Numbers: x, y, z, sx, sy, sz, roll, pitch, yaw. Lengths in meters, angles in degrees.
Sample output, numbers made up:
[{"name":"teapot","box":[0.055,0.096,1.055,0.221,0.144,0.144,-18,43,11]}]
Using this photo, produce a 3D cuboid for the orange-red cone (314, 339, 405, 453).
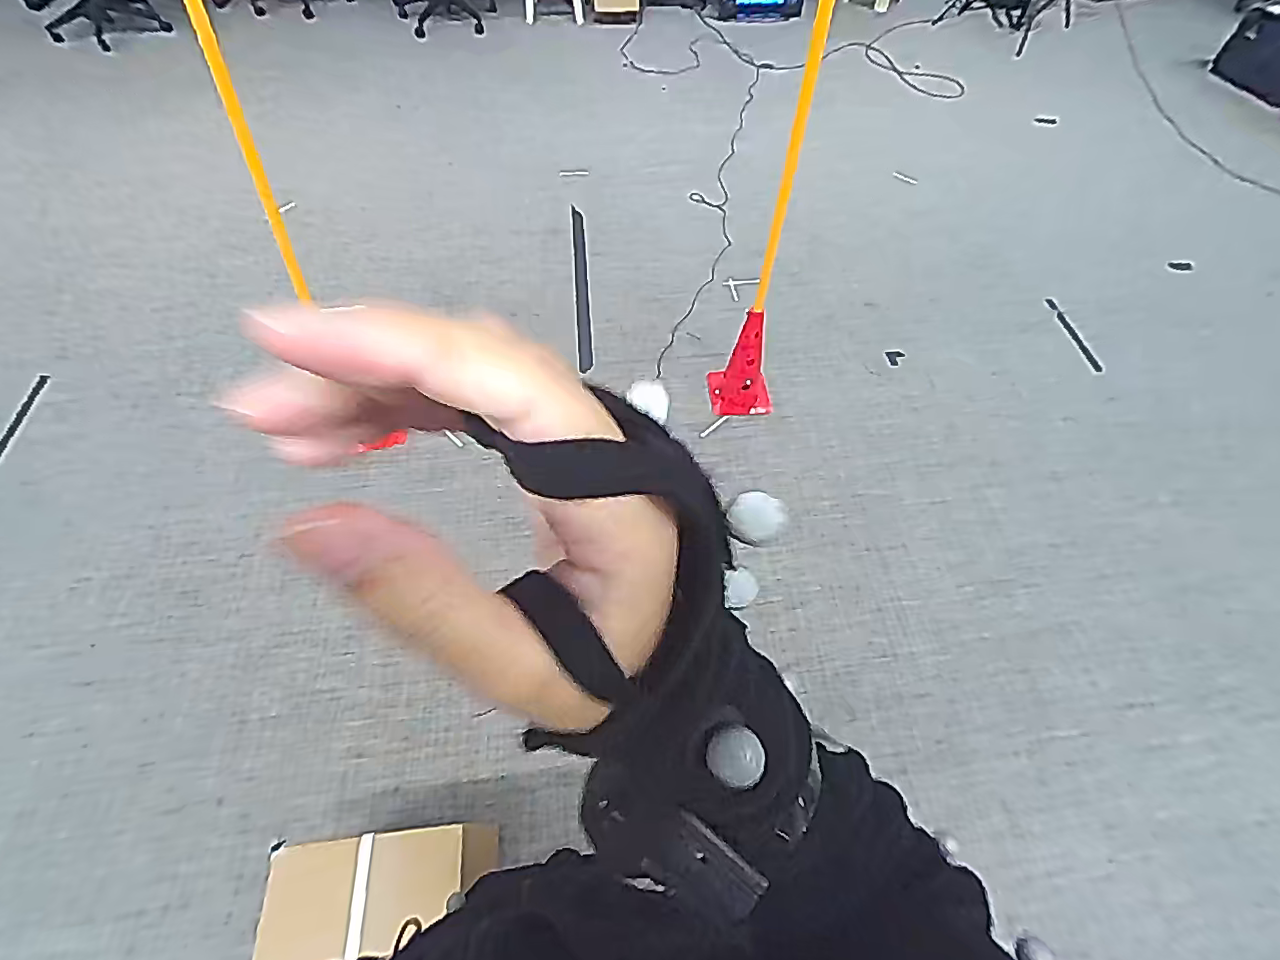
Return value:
[{"name":"orange-red cone","box":[-0.861,-0.269,1.600,0.199,0.360,0.198,-13,58,-8]}]
